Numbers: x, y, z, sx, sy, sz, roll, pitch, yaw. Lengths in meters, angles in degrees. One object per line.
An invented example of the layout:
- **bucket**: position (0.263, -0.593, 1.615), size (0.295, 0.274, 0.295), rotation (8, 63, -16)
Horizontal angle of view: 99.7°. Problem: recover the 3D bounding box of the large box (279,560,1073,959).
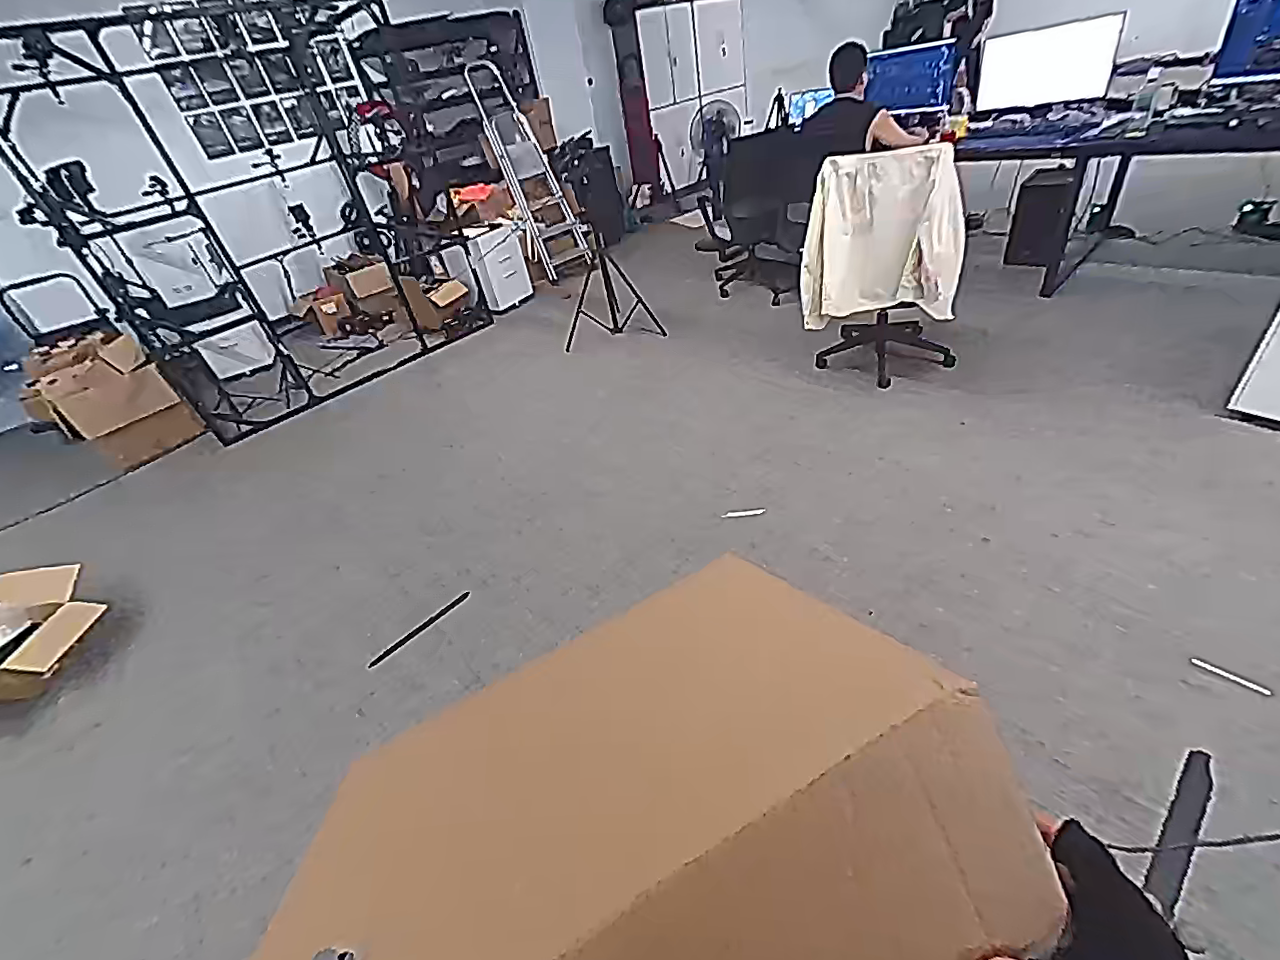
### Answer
- **large box**: position (0.016, 0.311, 0.408), size (0.408, 0.320, 0.320), rotation (-27, 10, -9)
